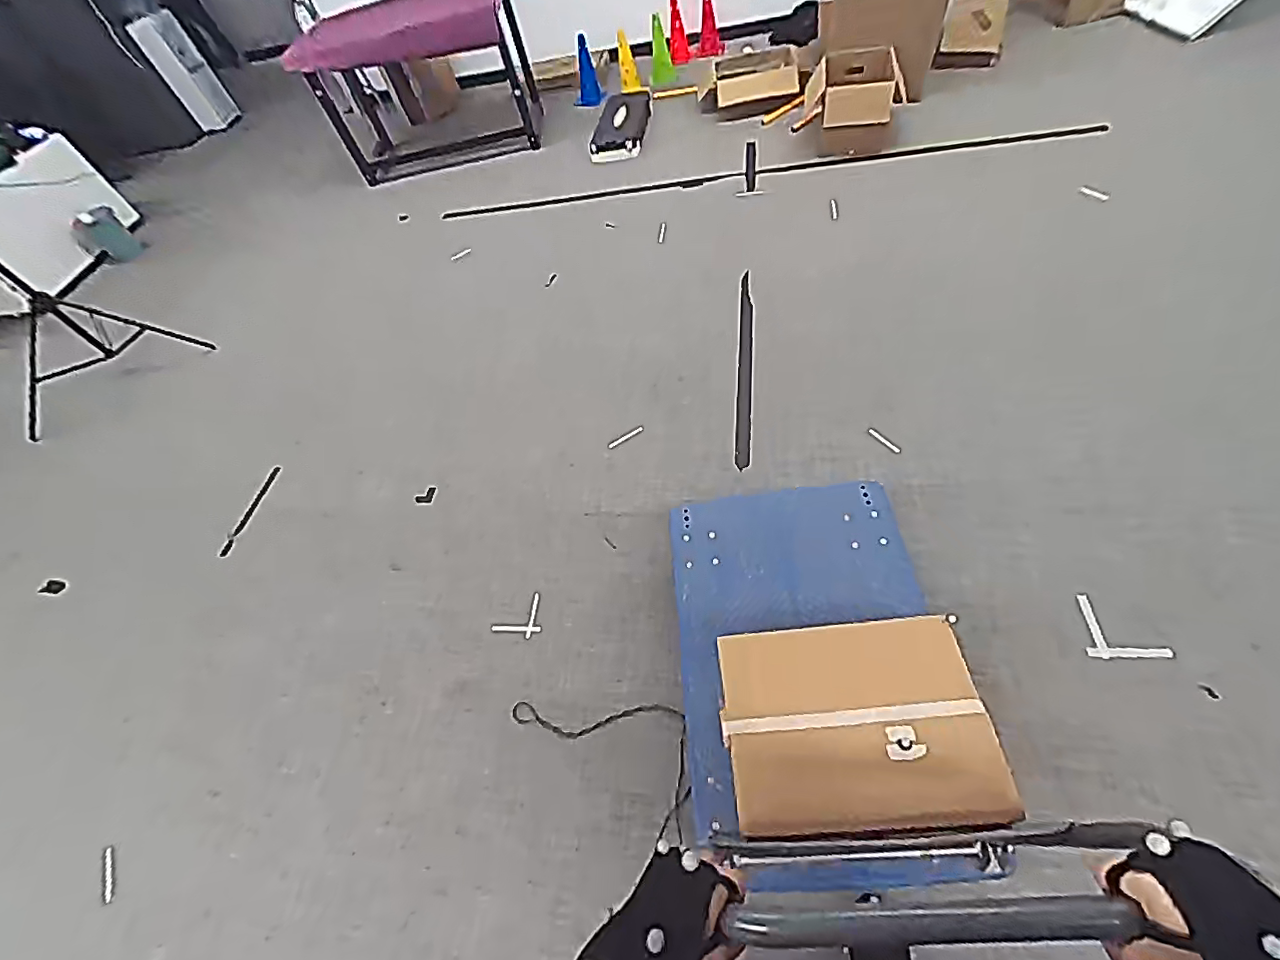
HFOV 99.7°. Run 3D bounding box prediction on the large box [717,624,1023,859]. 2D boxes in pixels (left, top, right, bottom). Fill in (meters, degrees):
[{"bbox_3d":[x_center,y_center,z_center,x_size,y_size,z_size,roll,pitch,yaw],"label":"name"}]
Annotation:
[{"bbox_3d":[0.365,0.488,0.989,0.408,0.320,0.320,-7,53,6],"label":"large box"}]
